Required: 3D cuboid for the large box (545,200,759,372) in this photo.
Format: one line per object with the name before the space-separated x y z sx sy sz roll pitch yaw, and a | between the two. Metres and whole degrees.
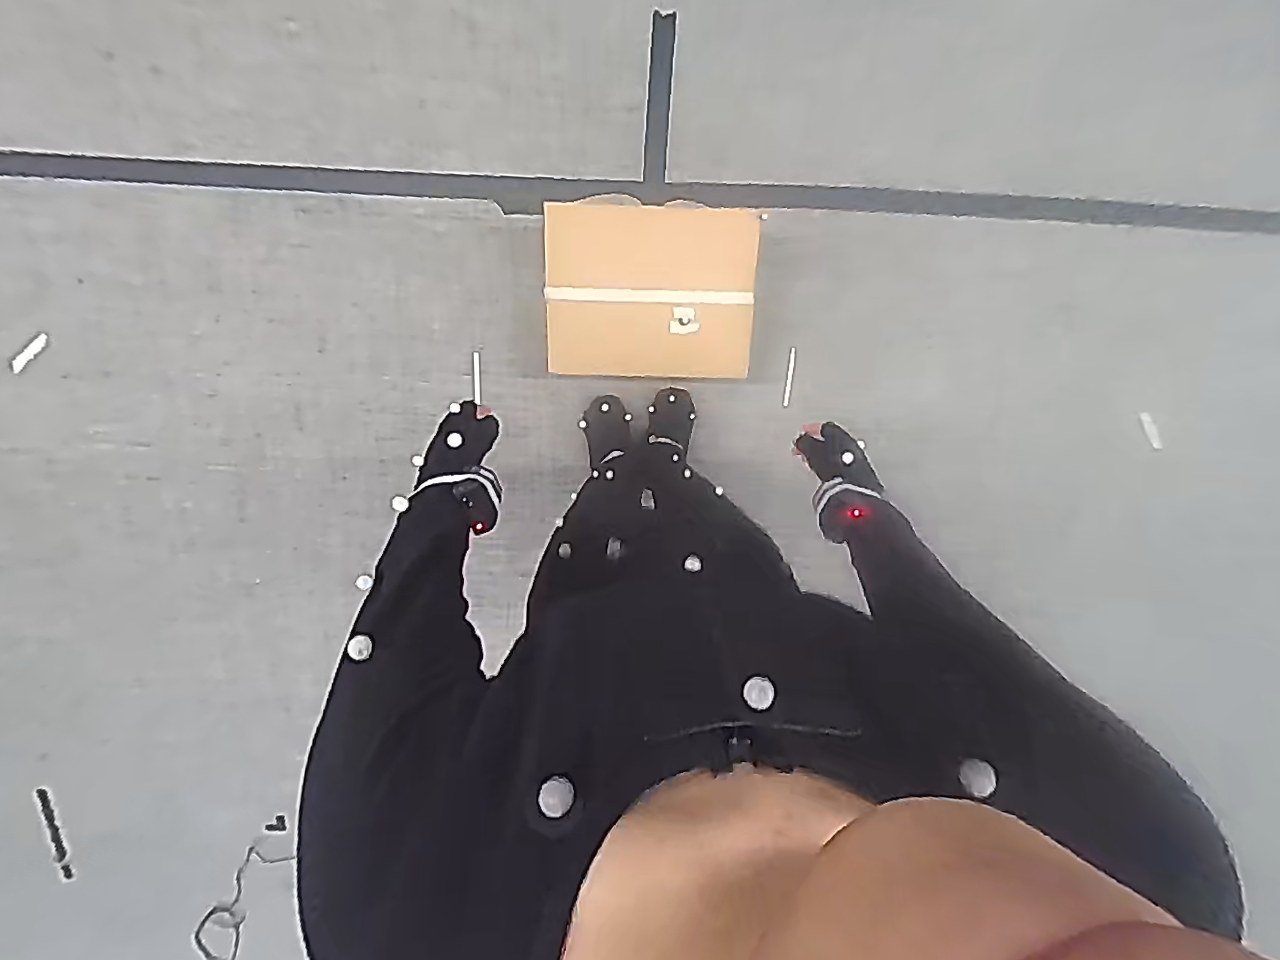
large box | 0.012 -0.410 1.183 0.408 0.320 0.320 0 109 -4
